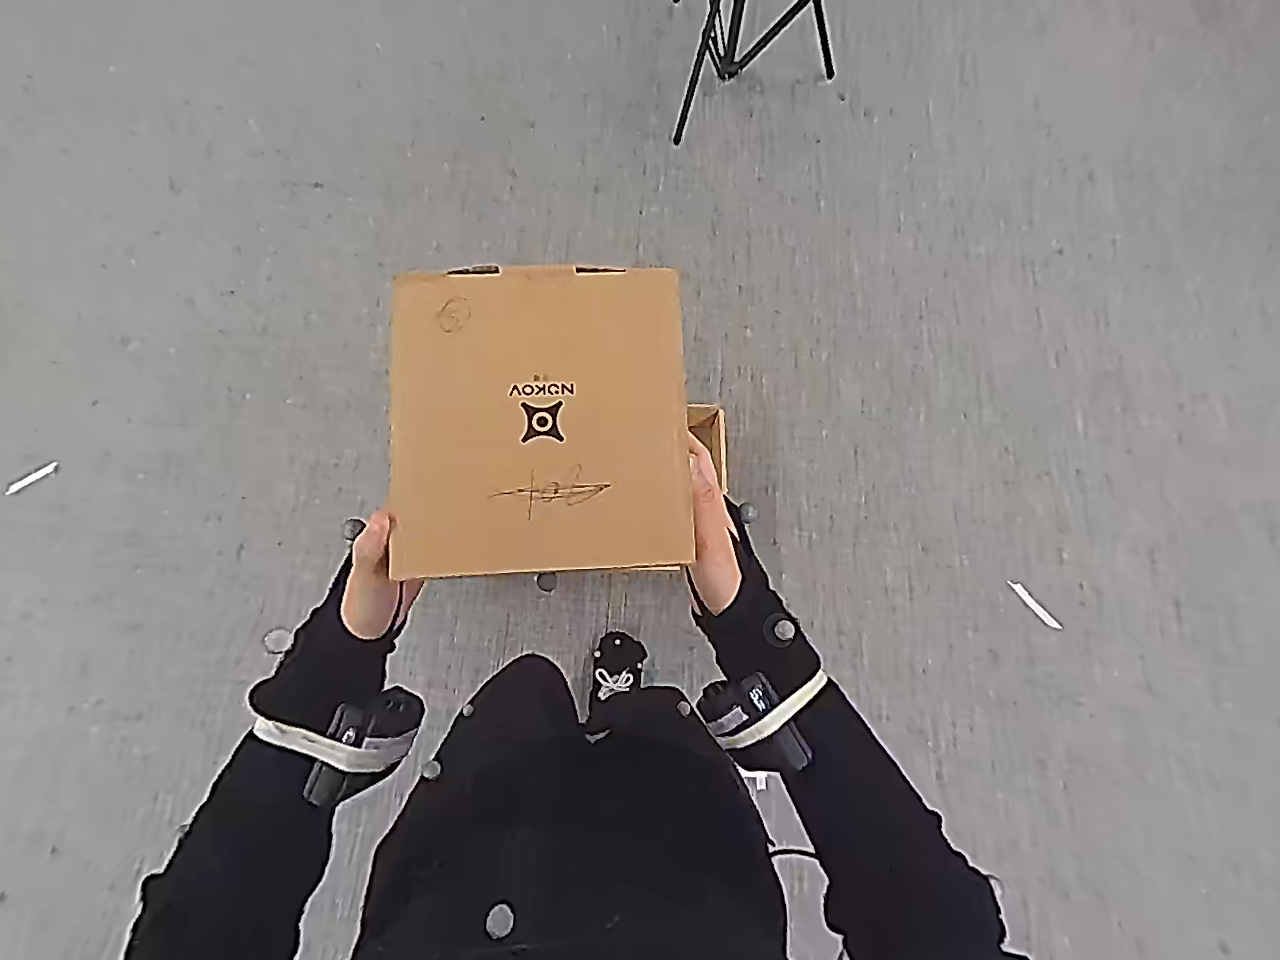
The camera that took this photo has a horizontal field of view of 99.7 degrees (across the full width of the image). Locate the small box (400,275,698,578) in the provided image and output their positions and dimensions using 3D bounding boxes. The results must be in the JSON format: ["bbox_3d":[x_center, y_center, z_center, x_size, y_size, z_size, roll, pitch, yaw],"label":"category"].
[{"bbox_3d":[-0.058,-0.024,0.387,0.168,0.176,0.179,-2,83,-5],"label":"small box"}]
